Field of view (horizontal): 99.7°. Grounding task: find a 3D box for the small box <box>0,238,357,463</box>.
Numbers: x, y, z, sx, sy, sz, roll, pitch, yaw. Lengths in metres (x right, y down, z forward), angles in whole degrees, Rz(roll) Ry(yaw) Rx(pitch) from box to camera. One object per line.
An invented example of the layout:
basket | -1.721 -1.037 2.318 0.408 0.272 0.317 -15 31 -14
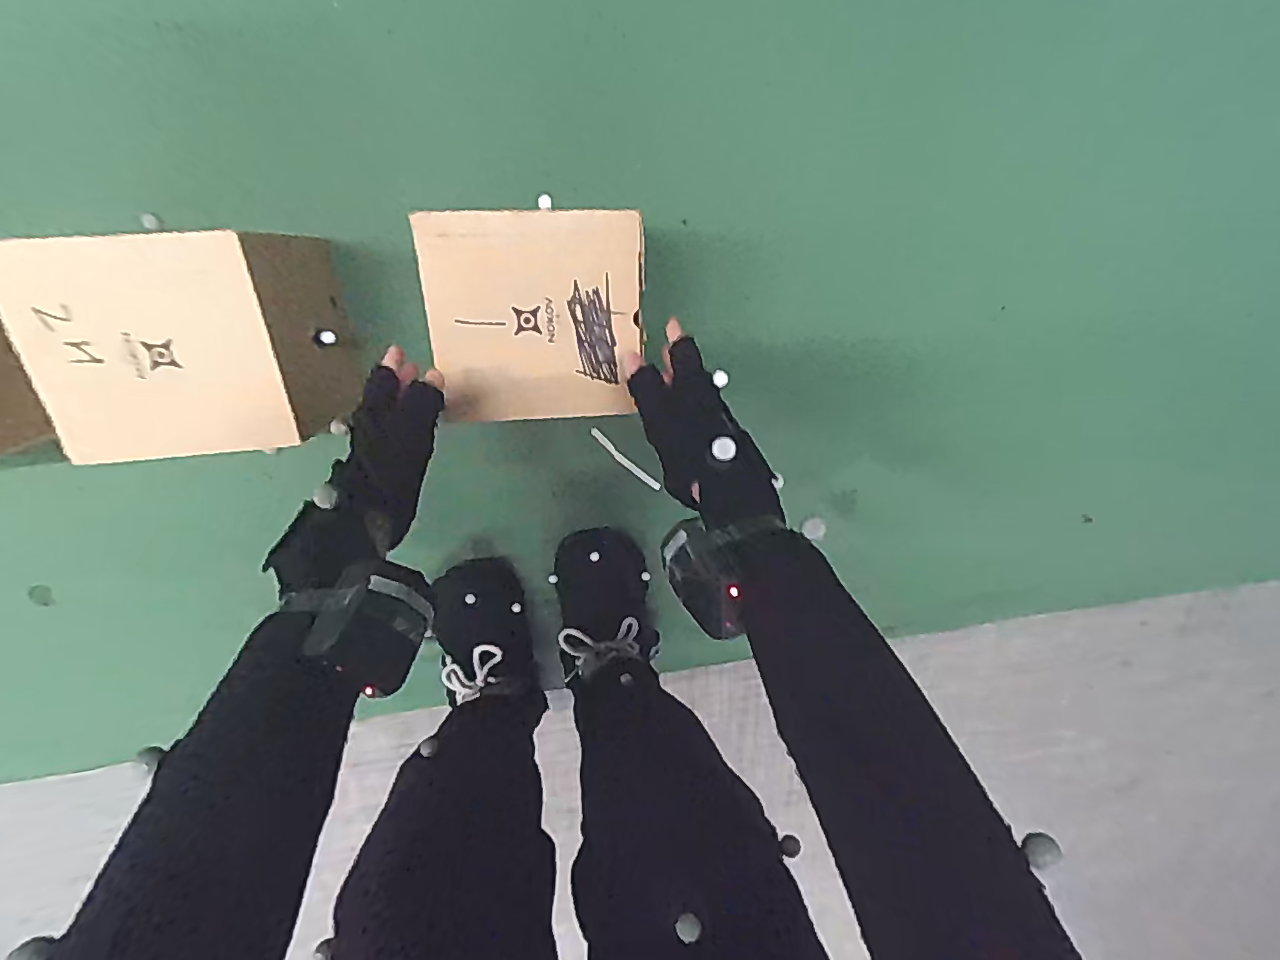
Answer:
small box | -0.376 -0.126 0.484 0.179 0.176 0.168 -5 113 -7
